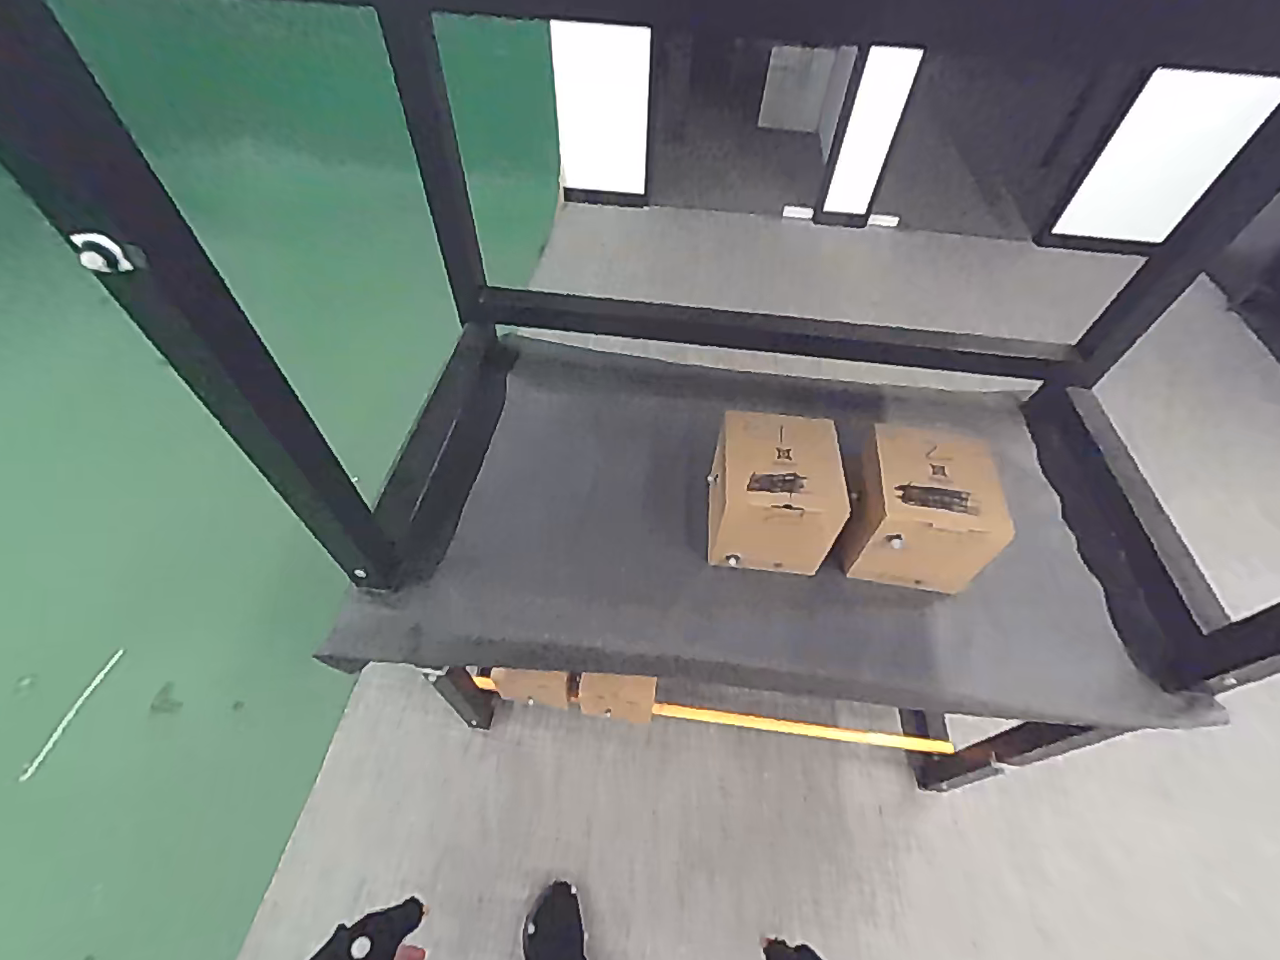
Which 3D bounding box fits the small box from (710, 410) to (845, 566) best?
[{"bbox_3d":[0.201,0.016,0.838,0.168,0.176,0.179,6,51,2],"label":"small box"}]
